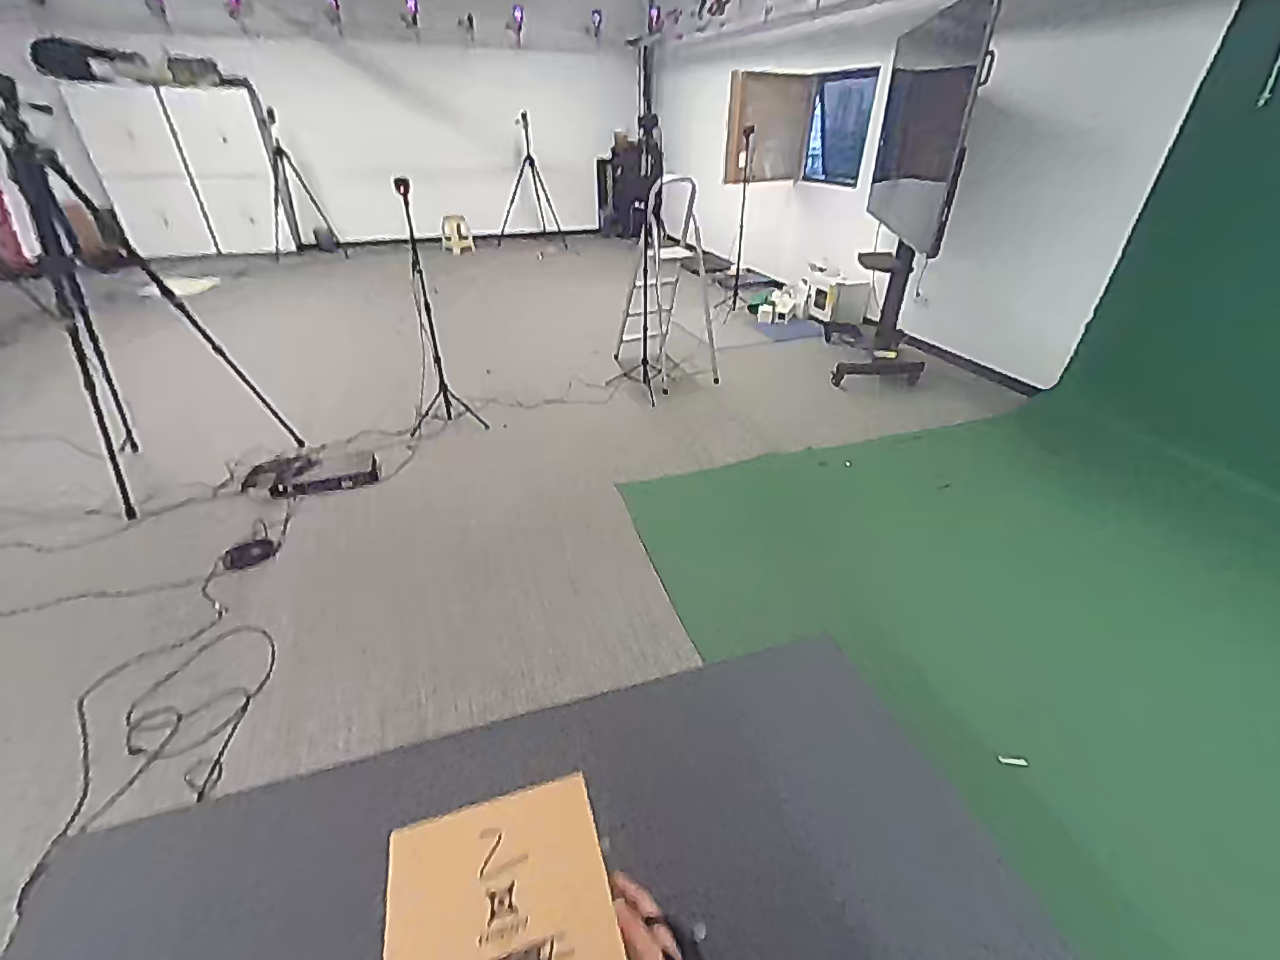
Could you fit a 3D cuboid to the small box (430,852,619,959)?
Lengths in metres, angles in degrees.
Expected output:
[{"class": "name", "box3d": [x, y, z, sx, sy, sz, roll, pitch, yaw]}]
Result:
[{"class": "small box", "box3d": [-0.101, 0.521, 0.526, 0.168, 0.176, 0.179, -12, 34, -18]}]
